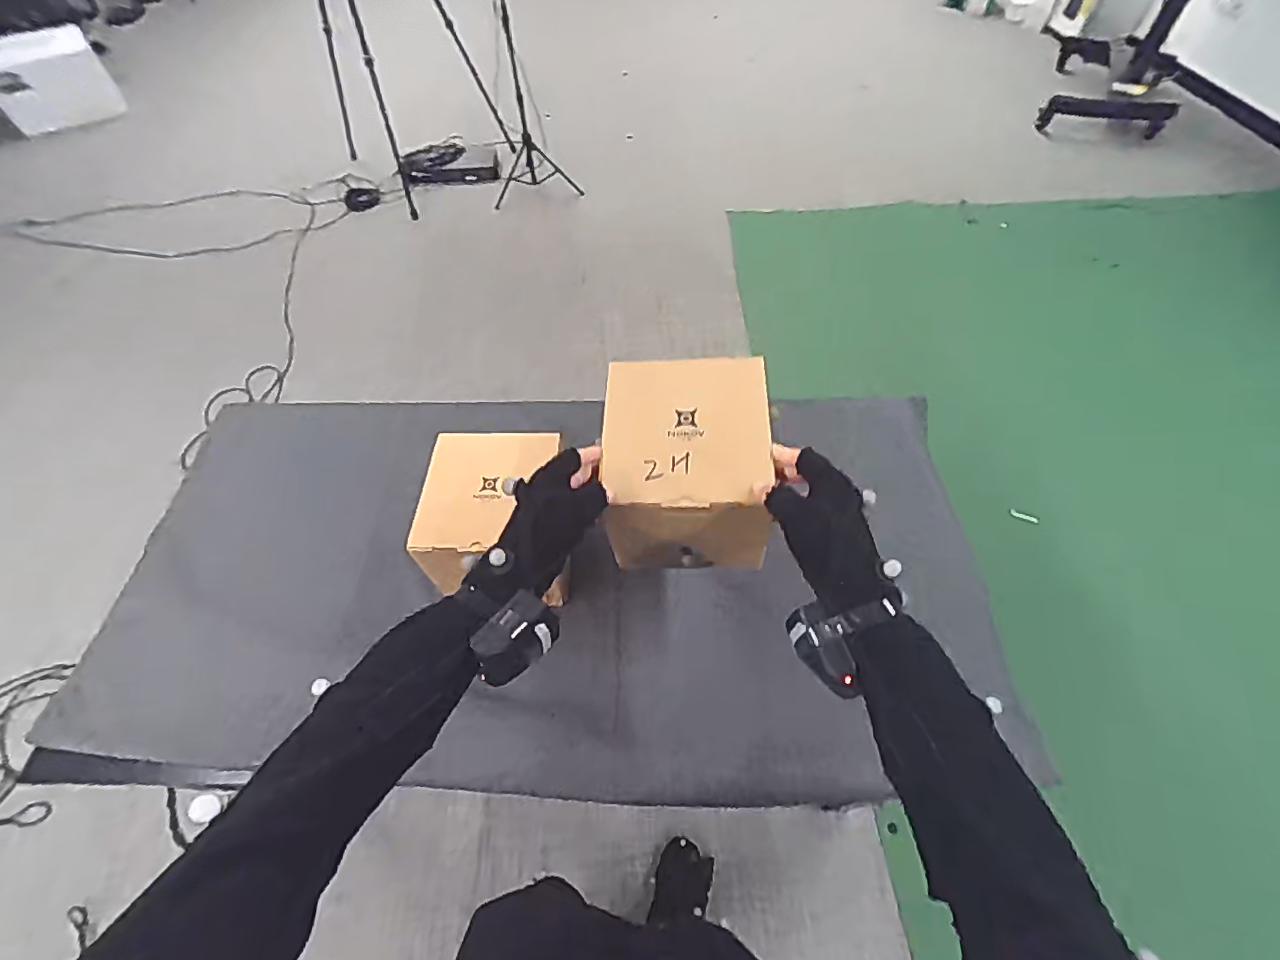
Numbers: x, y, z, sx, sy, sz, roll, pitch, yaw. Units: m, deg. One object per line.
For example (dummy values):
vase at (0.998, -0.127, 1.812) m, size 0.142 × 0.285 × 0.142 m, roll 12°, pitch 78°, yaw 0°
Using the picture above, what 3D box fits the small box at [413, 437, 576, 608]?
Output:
small box at (-0.182, 0.060, 0.743) m, size 0.168 × 0.176 × 0.179 m, roll 0°, pitch 56°, yaw 2°

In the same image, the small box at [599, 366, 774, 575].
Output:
small box at (0.054, -0.007, 0.609) m, size 0.168 × 0.176 × 0.179 m, roll -1°, pitch 60°, yaw 7°
